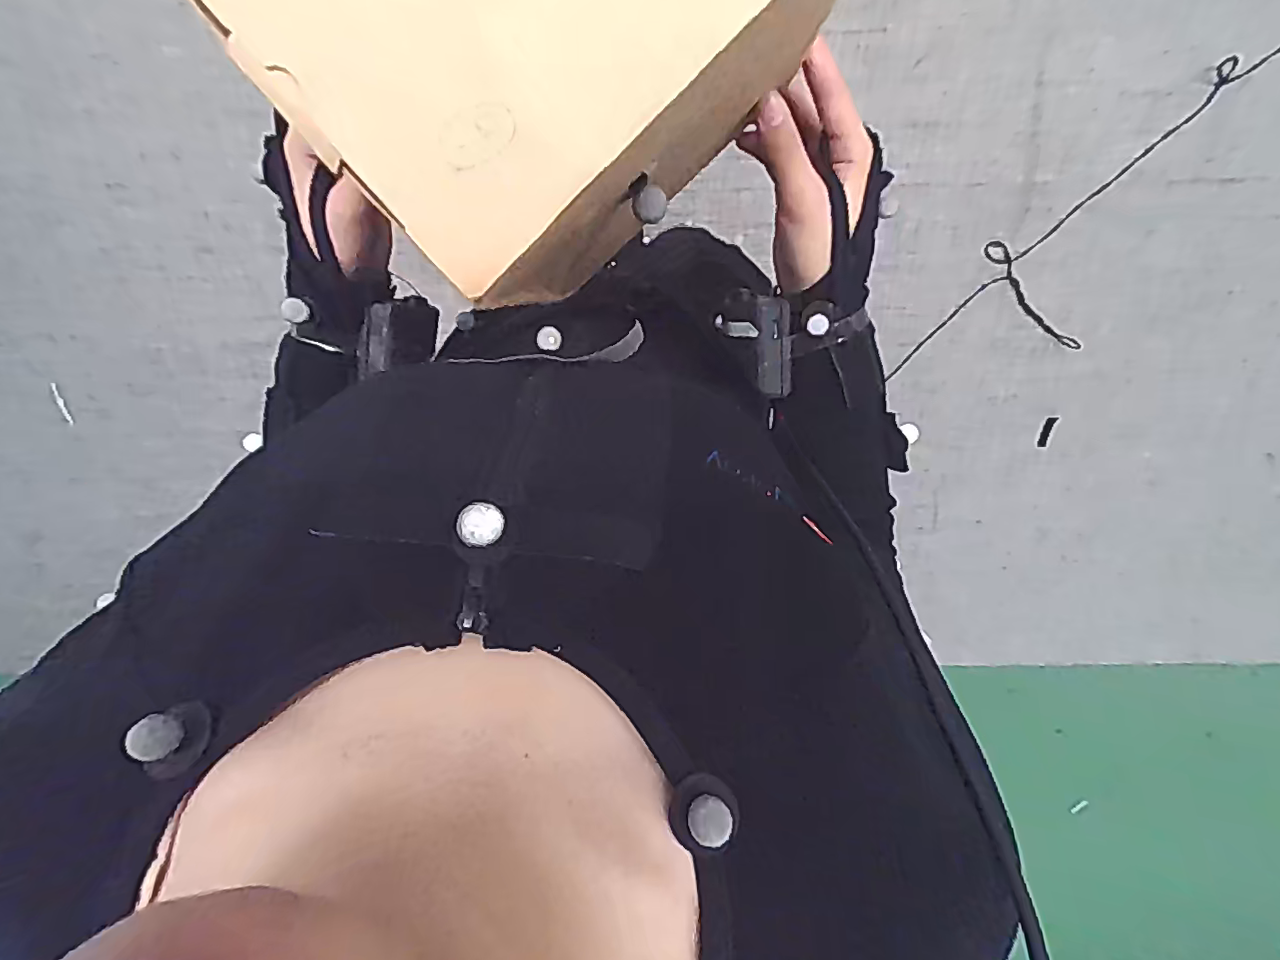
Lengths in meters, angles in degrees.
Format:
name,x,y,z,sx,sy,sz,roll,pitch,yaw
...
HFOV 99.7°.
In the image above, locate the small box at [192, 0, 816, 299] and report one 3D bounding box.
name,x,y,z,sx,sy,sz,roll,pitch,yaw
small box,-0.040,-0.196,0.225,0.179,0.176,0.168,-38,102,15
